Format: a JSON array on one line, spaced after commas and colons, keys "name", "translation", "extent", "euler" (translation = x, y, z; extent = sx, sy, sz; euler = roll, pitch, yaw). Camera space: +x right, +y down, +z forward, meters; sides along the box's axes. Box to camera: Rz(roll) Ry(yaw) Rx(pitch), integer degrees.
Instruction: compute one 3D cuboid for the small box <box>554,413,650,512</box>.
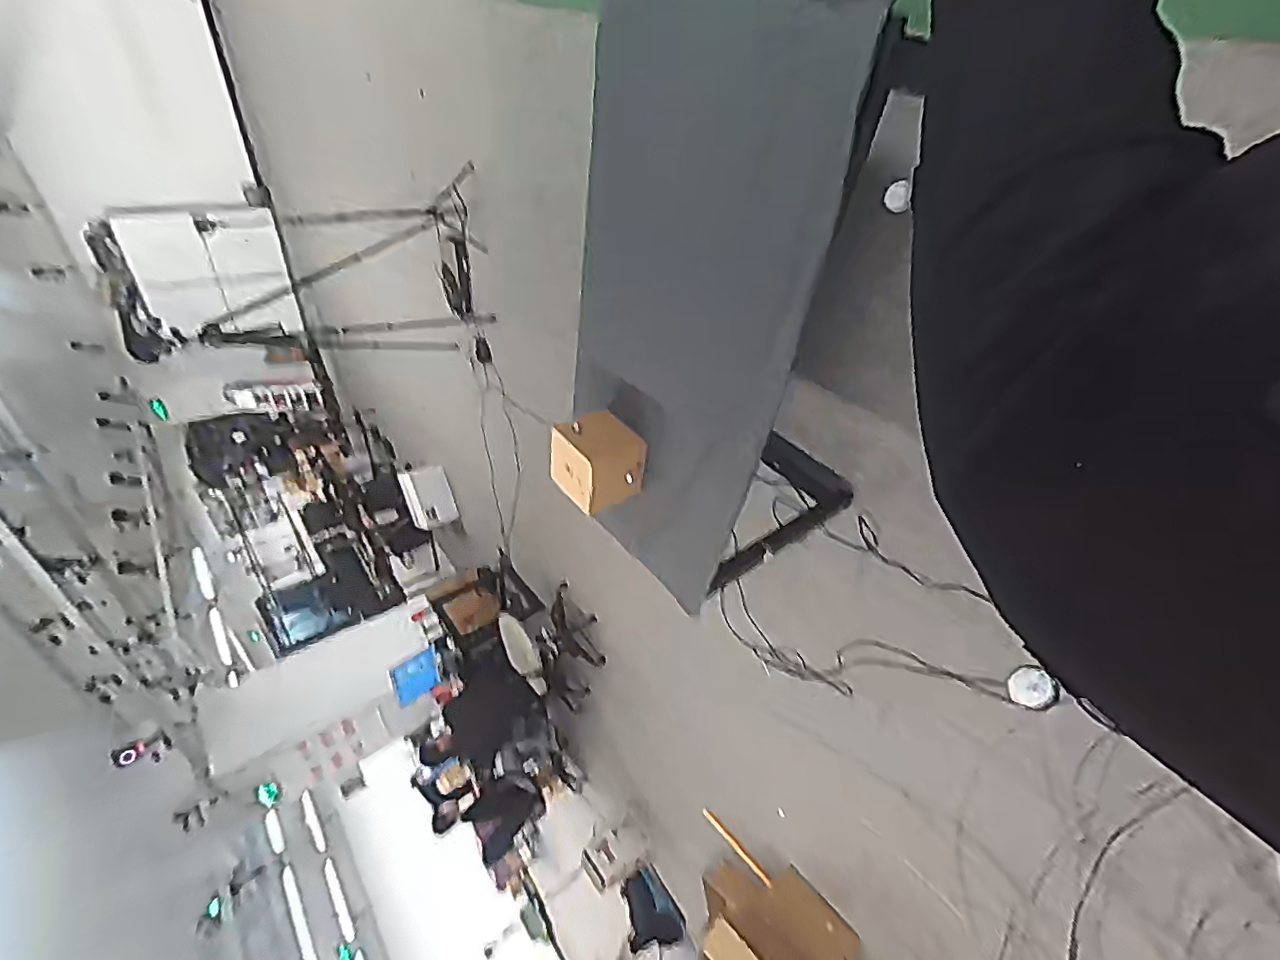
[{"name": "small box", "translation": [-0.100, -0.054, 1.365], "extent": [0.179, 0.176, 0.168], "euler": [41, 139, 33]}]
